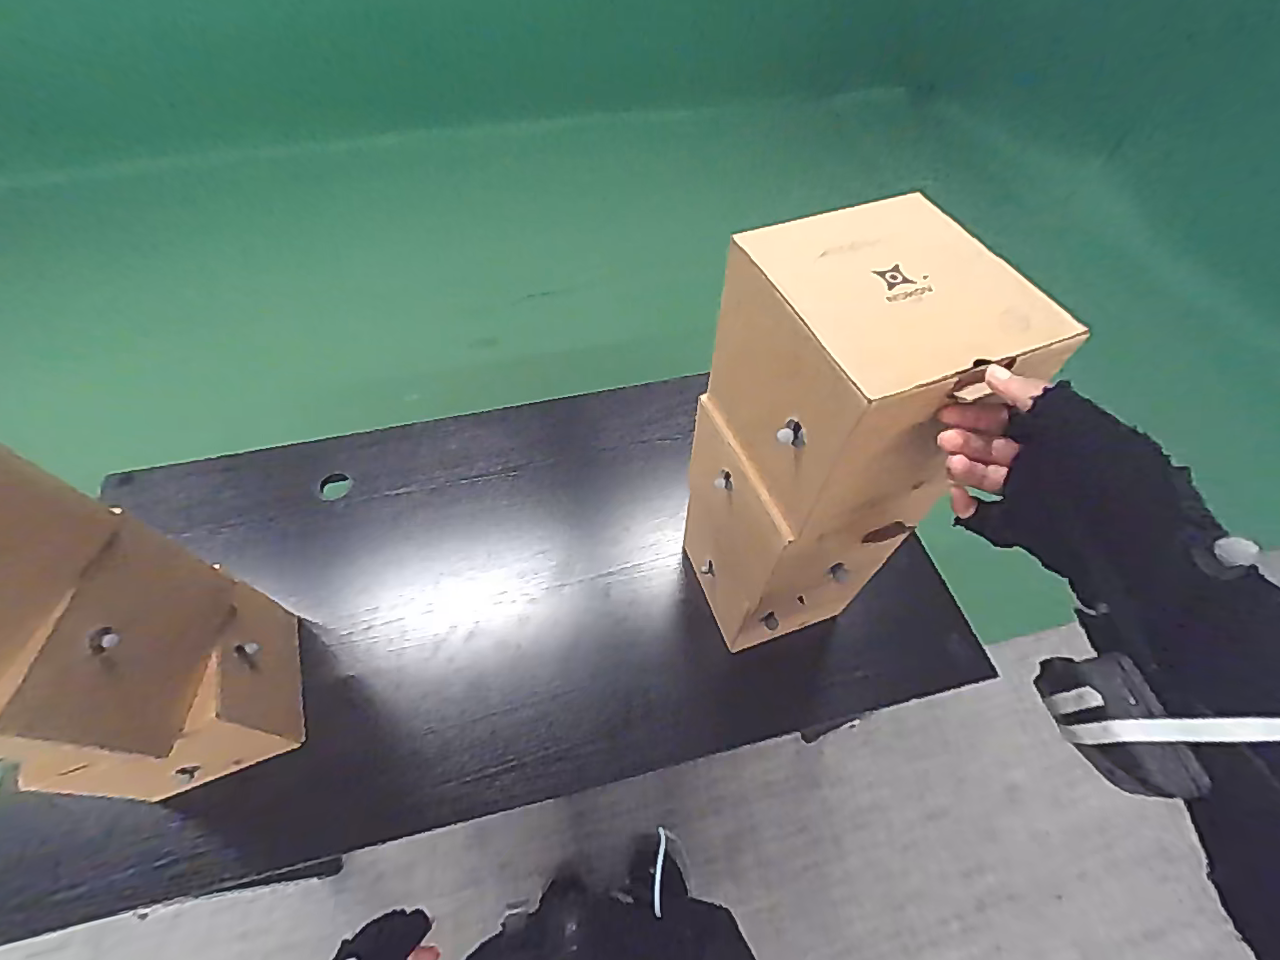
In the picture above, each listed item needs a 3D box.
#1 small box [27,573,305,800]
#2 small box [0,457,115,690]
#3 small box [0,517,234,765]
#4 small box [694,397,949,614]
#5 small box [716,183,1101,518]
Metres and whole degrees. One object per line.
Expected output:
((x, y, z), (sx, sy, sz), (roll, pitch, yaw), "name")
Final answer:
((-0.509, 0.237, 0.613), (0.168, 0.176, 0.179), (-18, 60, -13), "small box")
((-0.513, 0.053, 0.341), (0.168, 0.176, 0.179), (9, 58, 4), "small box")
((-0.511, 0.148, 0.476), (0.168, 0.176, 0.179), (0, 57, -1), "small box")
((0.166, 0.012, 0.567), (0.168, 0.176, 0.179), (-18, 58, -11), "small box")
((0.173, -0.089, 0.418), (0.168, 0.176, 0.179), (-18, 58, -12), "small box")
